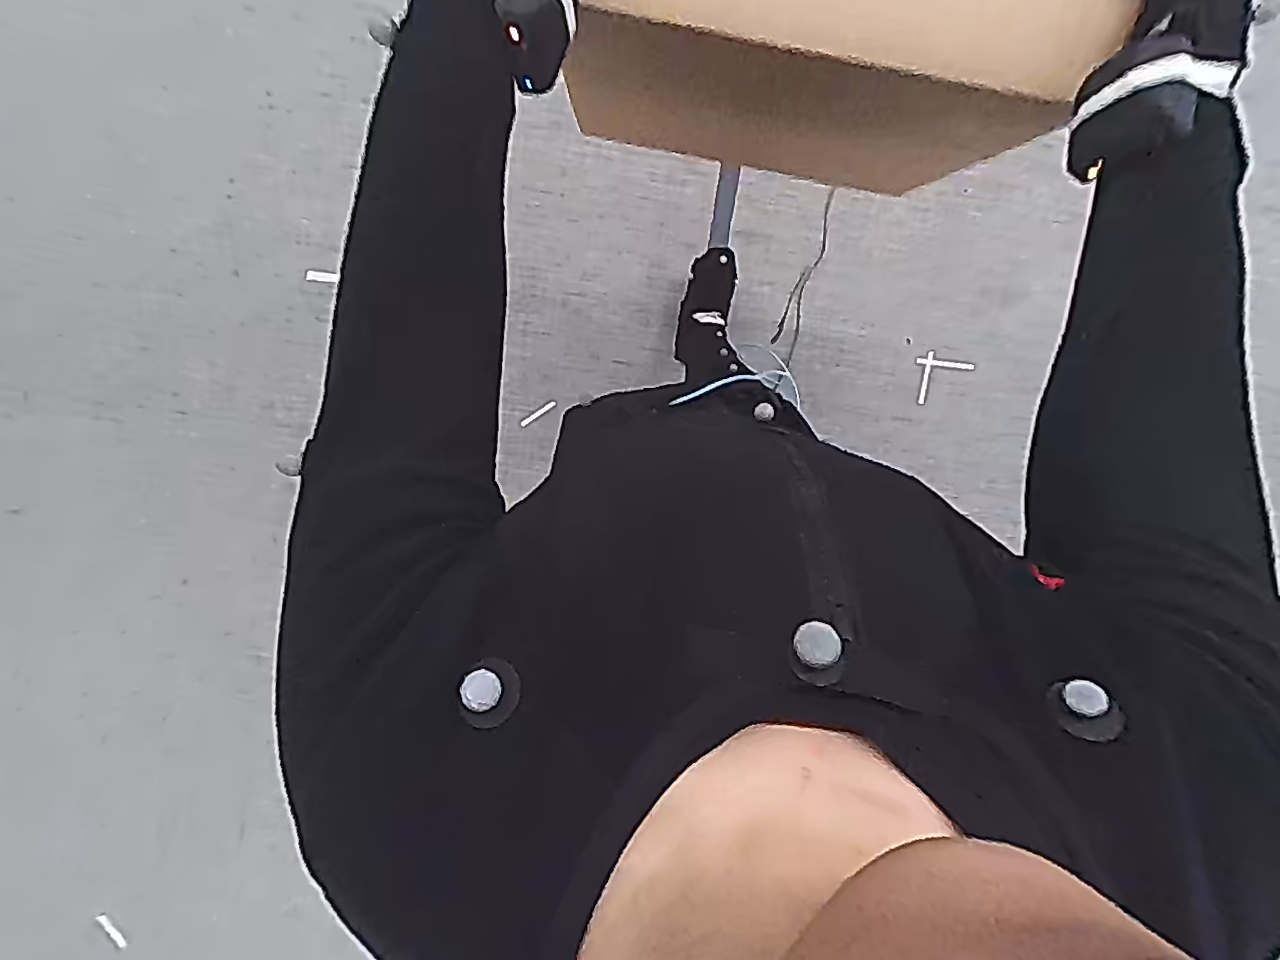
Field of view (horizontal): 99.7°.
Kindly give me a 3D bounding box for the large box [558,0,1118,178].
[{"bbox_3d":[0.150,-0.500,0.479,0.408,0.320,0.320,8,108,-4],"label":"large box"}]
